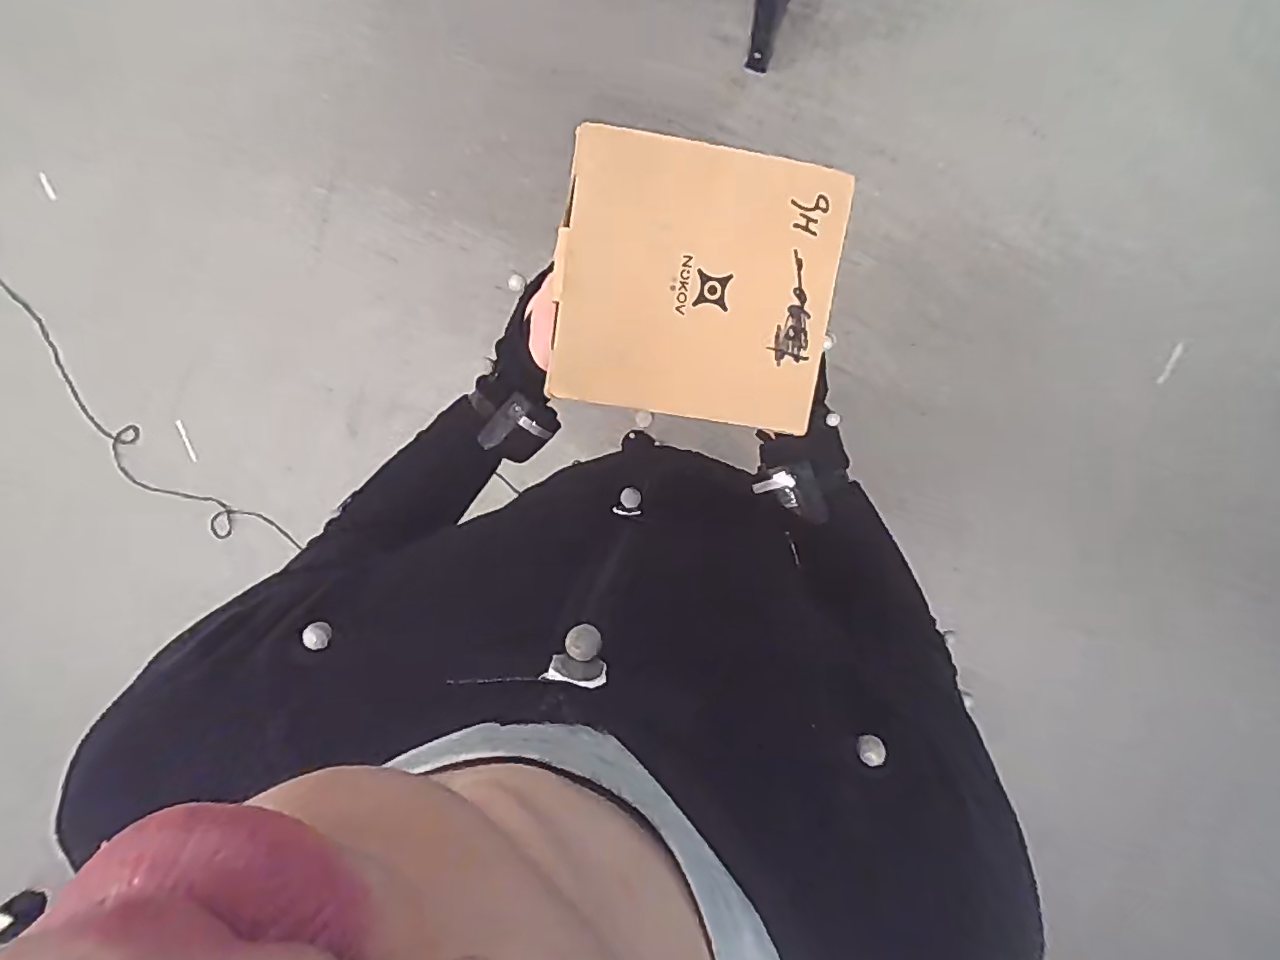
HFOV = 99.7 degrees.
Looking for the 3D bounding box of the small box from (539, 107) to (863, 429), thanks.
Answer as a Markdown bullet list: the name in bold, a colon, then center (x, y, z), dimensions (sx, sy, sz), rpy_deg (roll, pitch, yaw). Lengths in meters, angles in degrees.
- **small box**: center (0.031, -0.131, 0.401), dimensions (0.179, 0.176, 0.168), rpy_deg (7, 97, -5)
